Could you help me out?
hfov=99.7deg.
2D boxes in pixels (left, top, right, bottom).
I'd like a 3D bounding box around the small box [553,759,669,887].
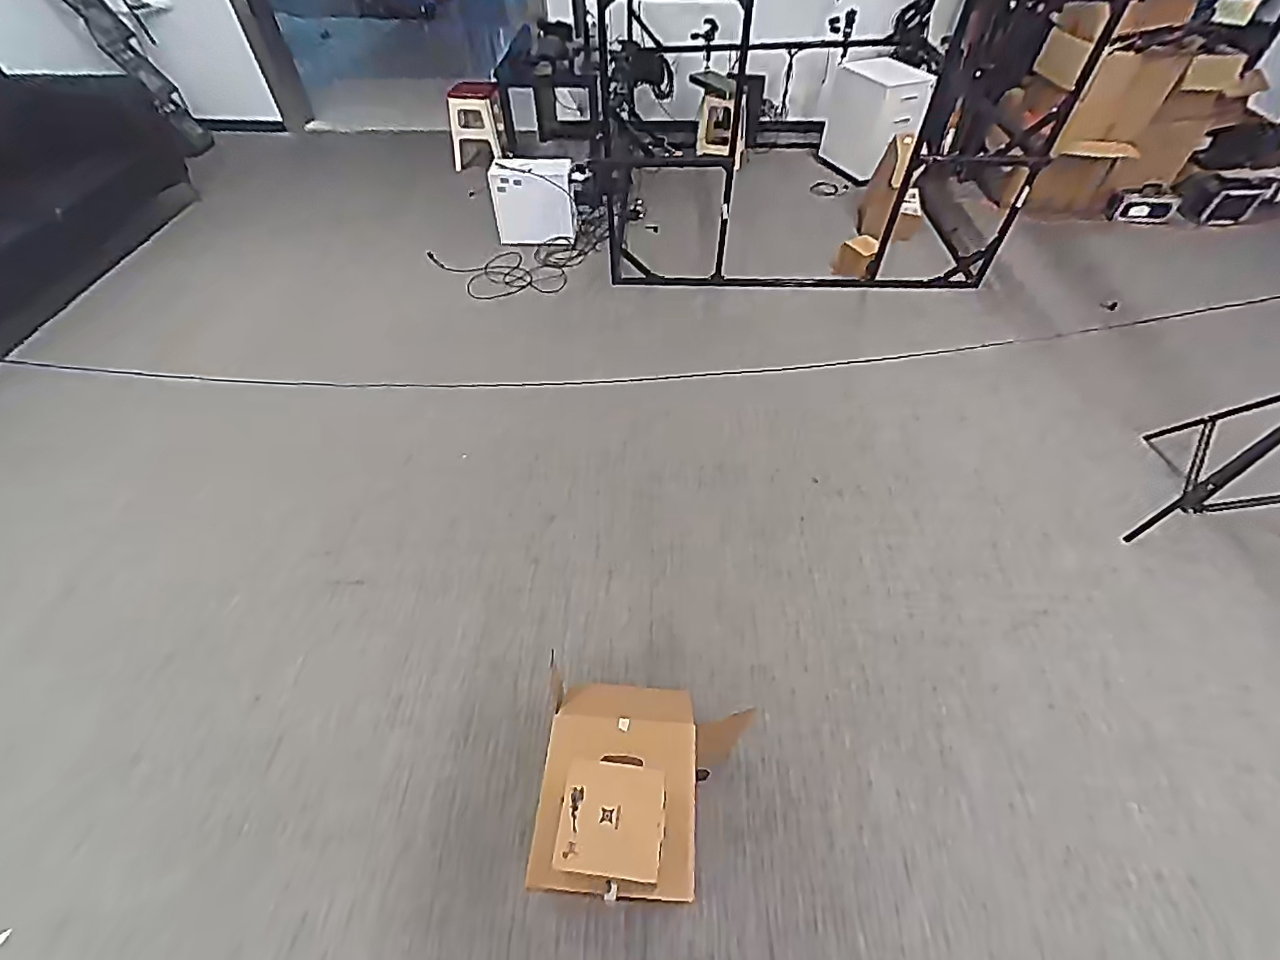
[{"bbox_3d":[-0.046,0.627,0.985,0.179,0.176,0.168,6,52,5],"label":"small box"}]
